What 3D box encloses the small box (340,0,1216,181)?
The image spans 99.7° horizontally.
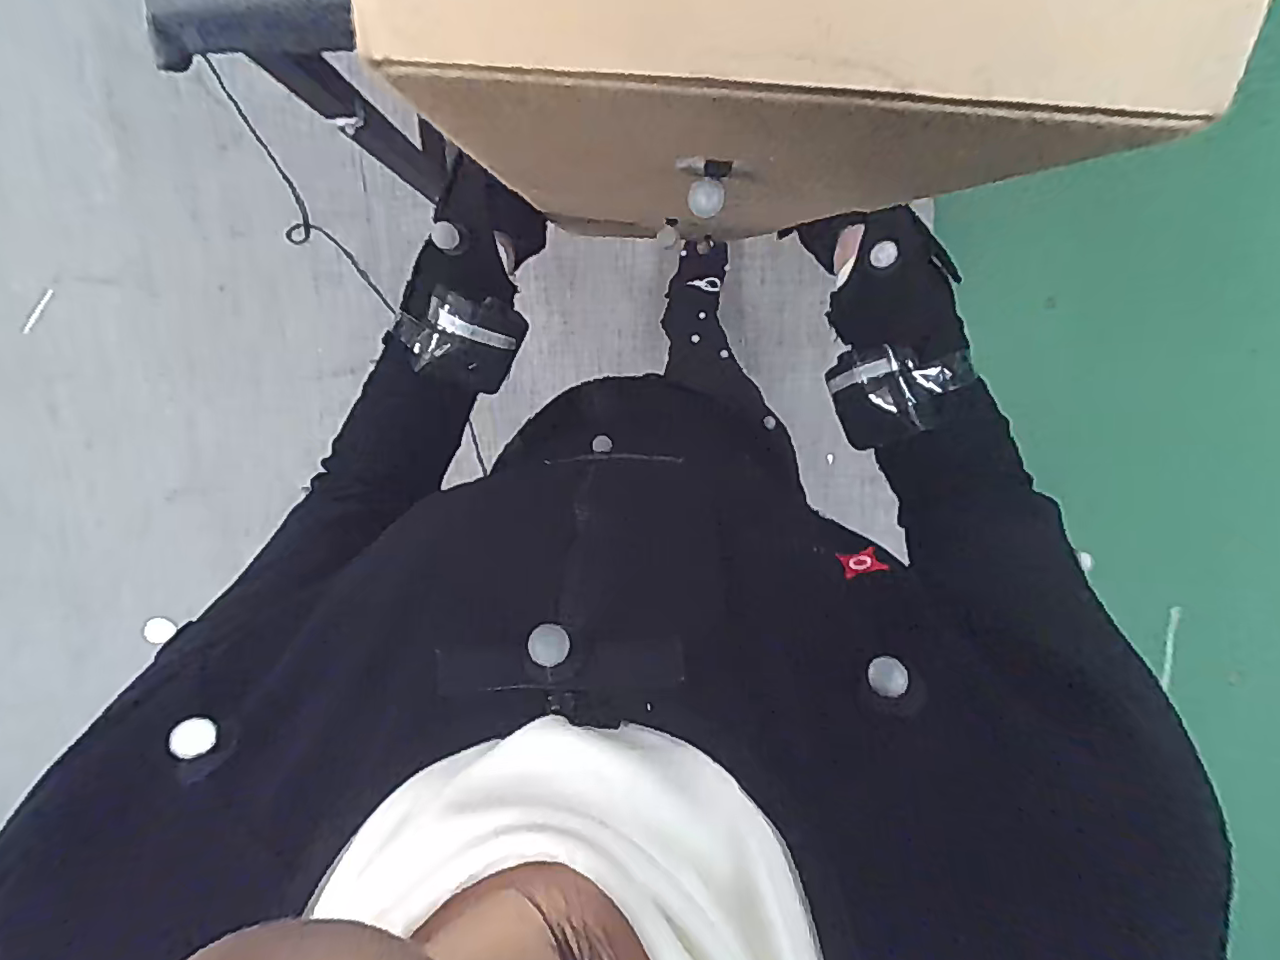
[{"bbox_3d":[0.030,-0.191,0.152,0.179,0.176,0.168,2,111,-3],"label":"small box"}]

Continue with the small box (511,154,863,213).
[{"bbox_3d":[0.021,-0.251,0.307,0.179,0.176,0.168,-1,112,-2],"label":"small box"}]

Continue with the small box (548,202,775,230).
[{"bbox_3d":[0.016,-0.310,0.458,0.179,0.176,0.168,0,111,-1],"label":"small box"}]
